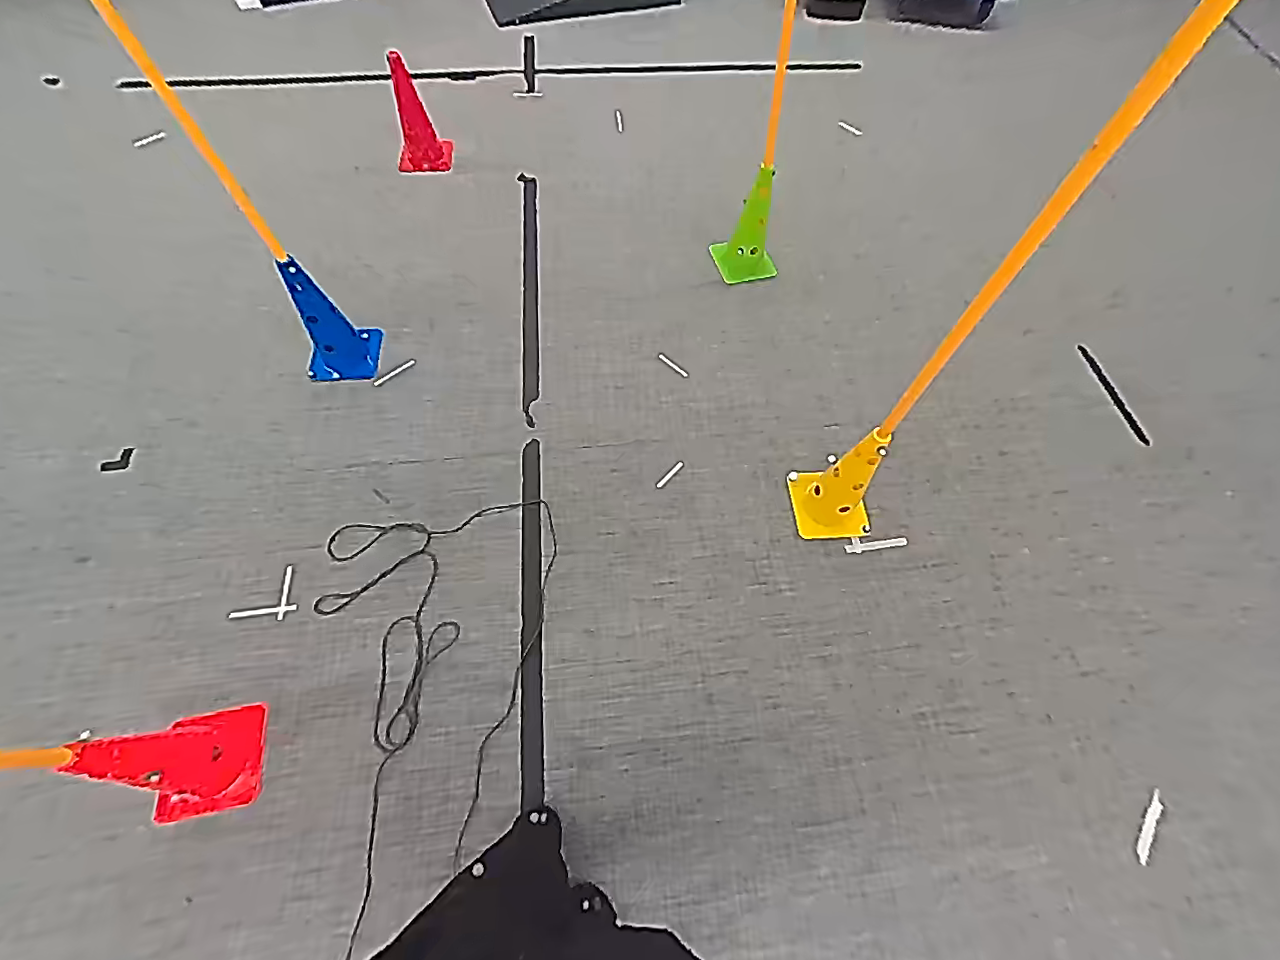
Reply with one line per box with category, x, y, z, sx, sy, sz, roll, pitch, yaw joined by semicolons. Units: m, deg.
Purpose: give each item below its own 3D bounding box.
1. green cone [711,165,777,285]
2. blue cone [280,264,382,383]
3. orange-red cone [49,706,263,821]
green cone;0.378;-0.862;1.791;0.200;0.368;0.202;-14;65;-9
blue cone;-0.900;-0.456;1.536;0.193;0.380;0.192;-2;62;-3
orange-red cone;-0.902;0.513;0.992;0.199;0.360;0.198;-8;63;-8
